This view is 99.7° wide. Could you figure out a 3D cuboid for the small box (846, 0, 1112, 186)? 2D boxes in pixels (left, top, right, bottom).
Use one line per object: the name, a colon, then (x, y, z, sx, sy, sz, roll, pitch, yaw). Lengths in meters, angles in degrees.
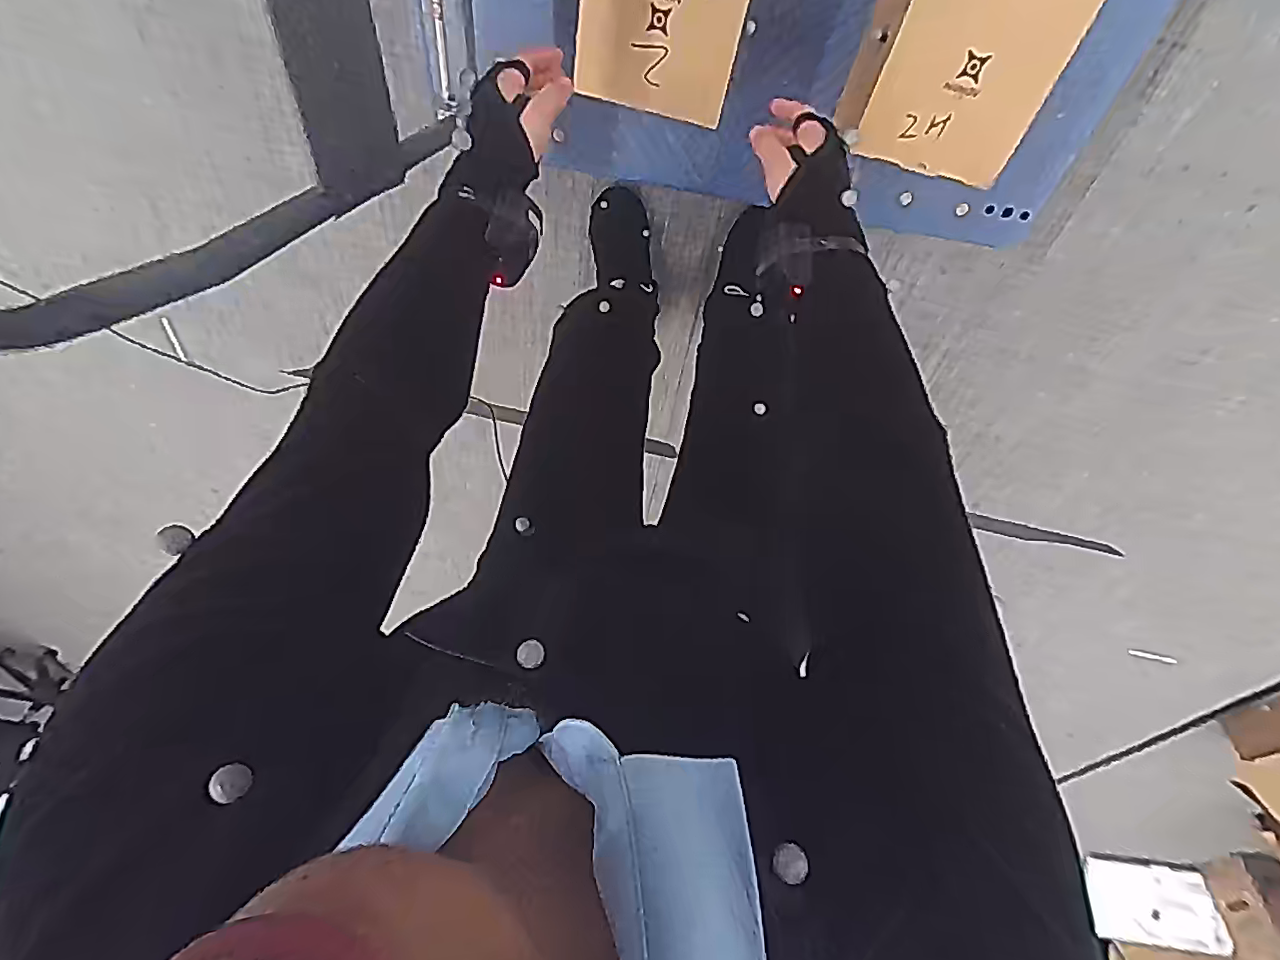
small box: (0.341, -0.456, 0.587, 0.168, 0.176, 0.179, 14, 134, -2)
